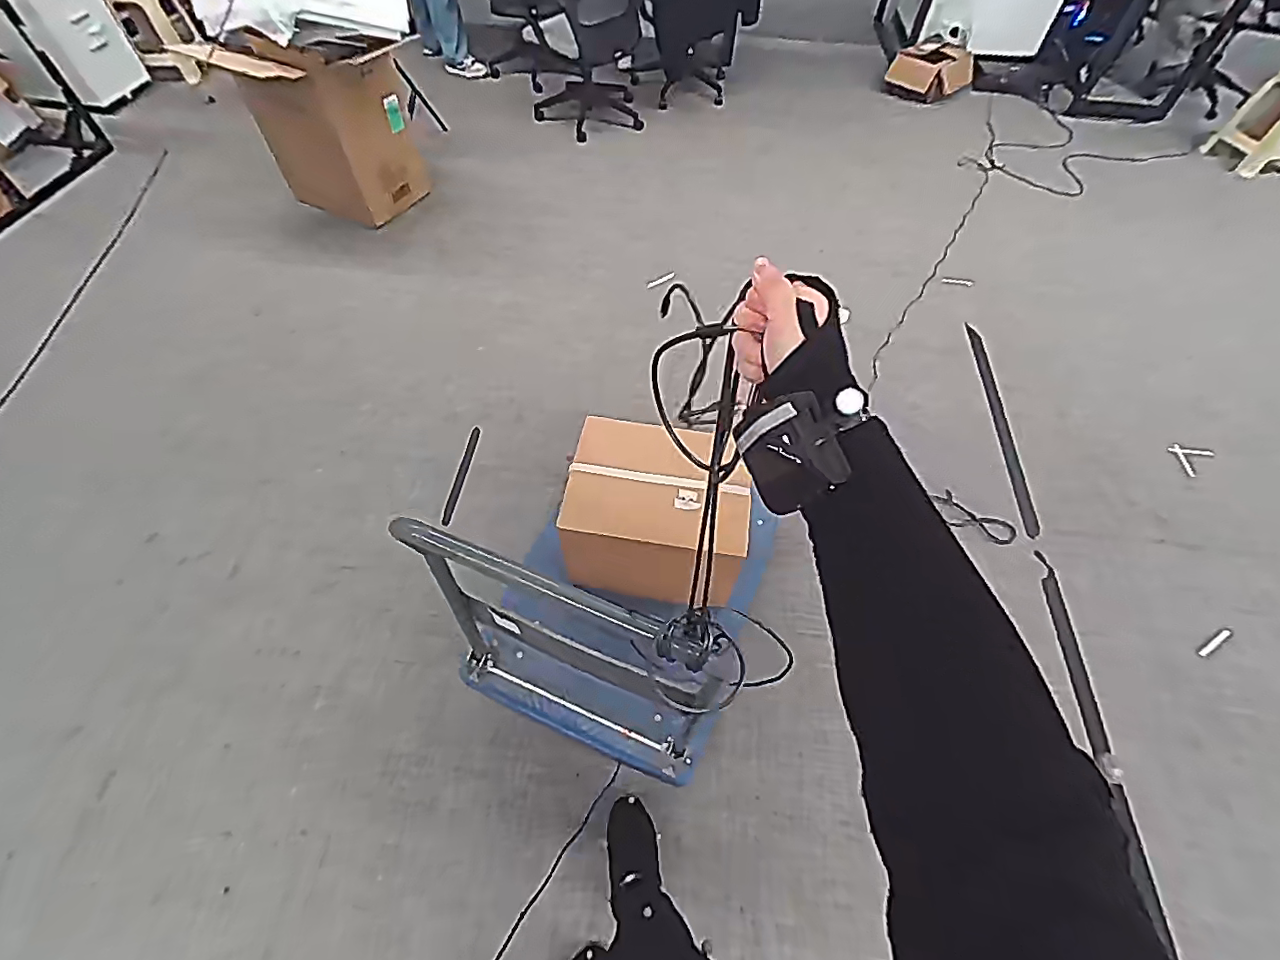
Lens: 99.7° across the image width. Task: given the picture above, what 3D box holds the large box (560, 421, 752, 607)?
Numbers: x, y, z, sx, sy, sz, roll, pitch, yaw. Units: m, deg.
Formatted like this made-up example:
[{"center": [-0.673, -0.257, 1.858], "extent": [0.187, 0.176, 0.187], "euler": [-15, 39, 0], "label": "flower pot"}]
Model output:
[{"center": [0.040, 0.090, 1.326], "extent": [0.408, 0.320, 0.320], "euler": [9, 57, 3], "label": "large box"}]
